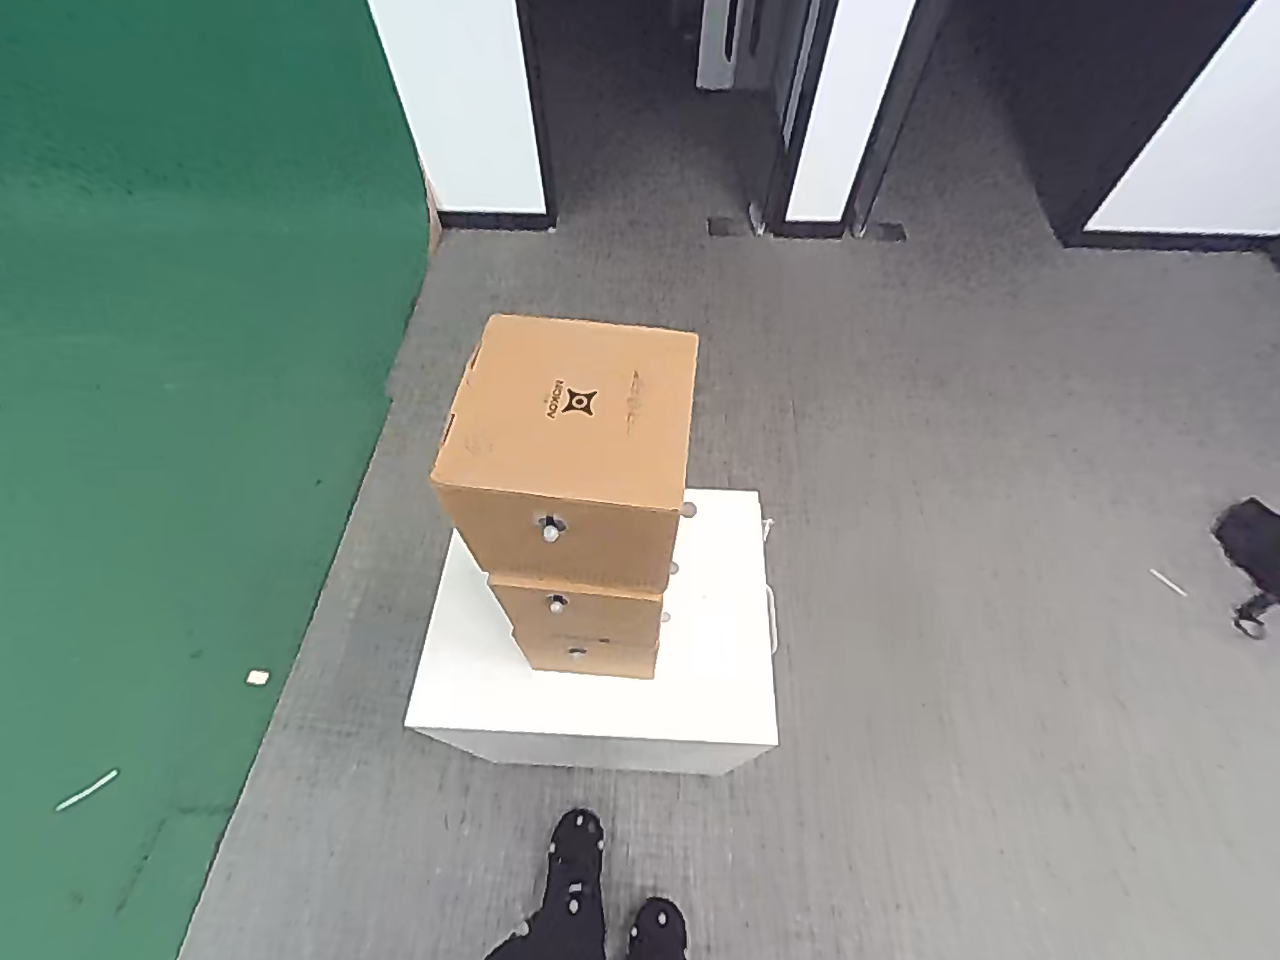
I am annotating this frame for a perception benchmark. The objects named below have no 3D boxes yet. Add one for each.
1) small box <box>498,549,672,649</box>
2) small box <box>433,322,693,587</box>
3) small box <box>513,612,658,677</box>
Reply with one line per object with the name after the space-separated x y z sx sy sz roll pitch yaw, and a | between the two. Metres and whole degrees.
-0.051 0.078 0.619 0.168 0.176 0.179 4 58 0 | small box
-0.052 -0.015 0.482 0.179 0.176 0.168 6 59 2 | small box
-0.060 0.168 0.752 0.179 0.176 0.168 4 57 2 | small box
